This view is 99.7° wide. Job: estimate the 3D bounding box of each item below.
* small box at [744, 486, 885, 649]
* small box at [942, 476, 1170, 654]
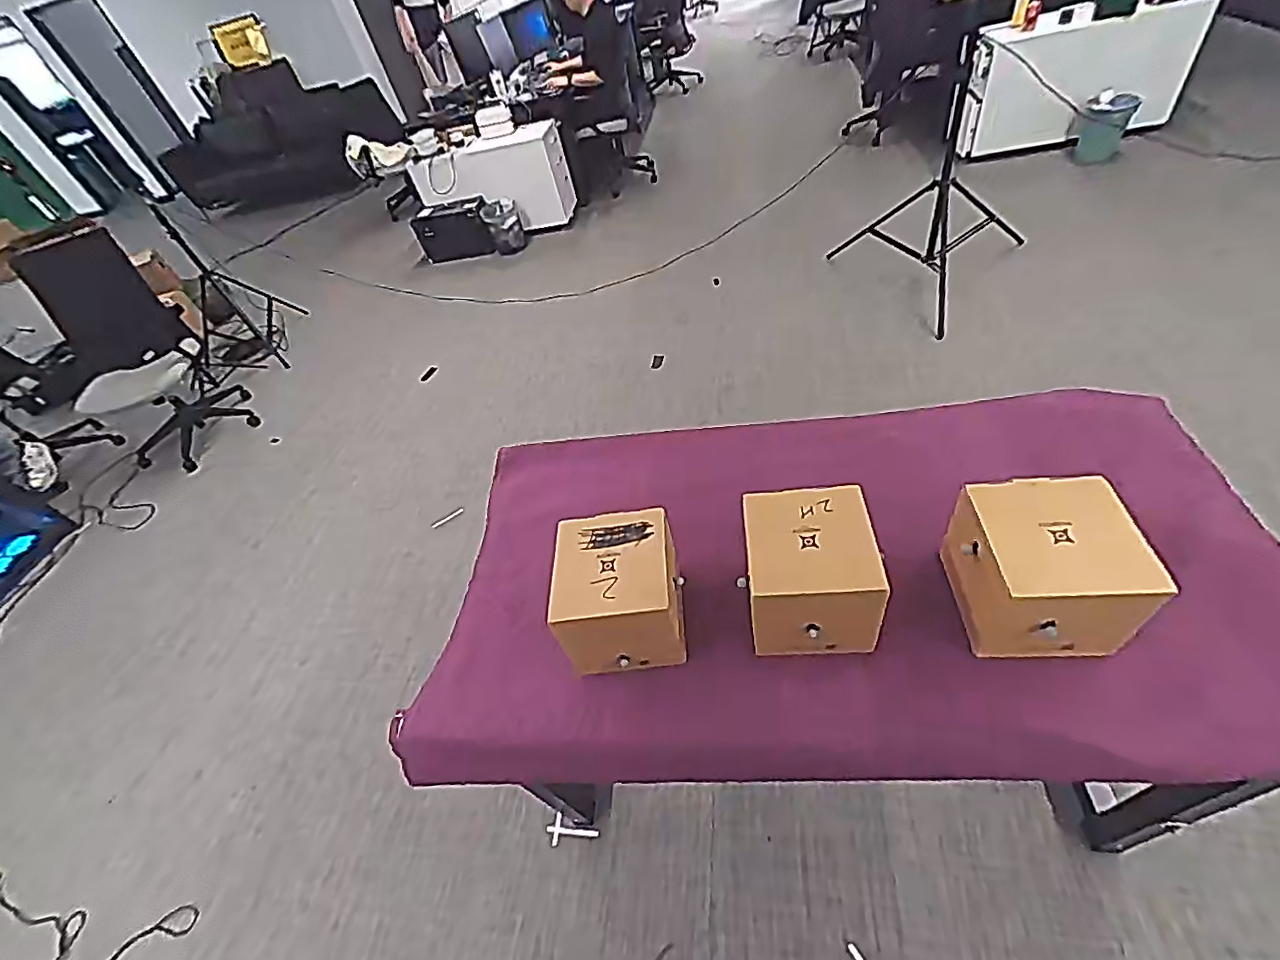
[{"bbox_3d":[0.242,0.132,0.783,0.168,0.176,0.179,-4,46,10],"label":"small box"},{"bbox_3d":[0.526,0.119,0.719,0.168,0.176,0.179,-4,47,12],"label":"small box"}]
